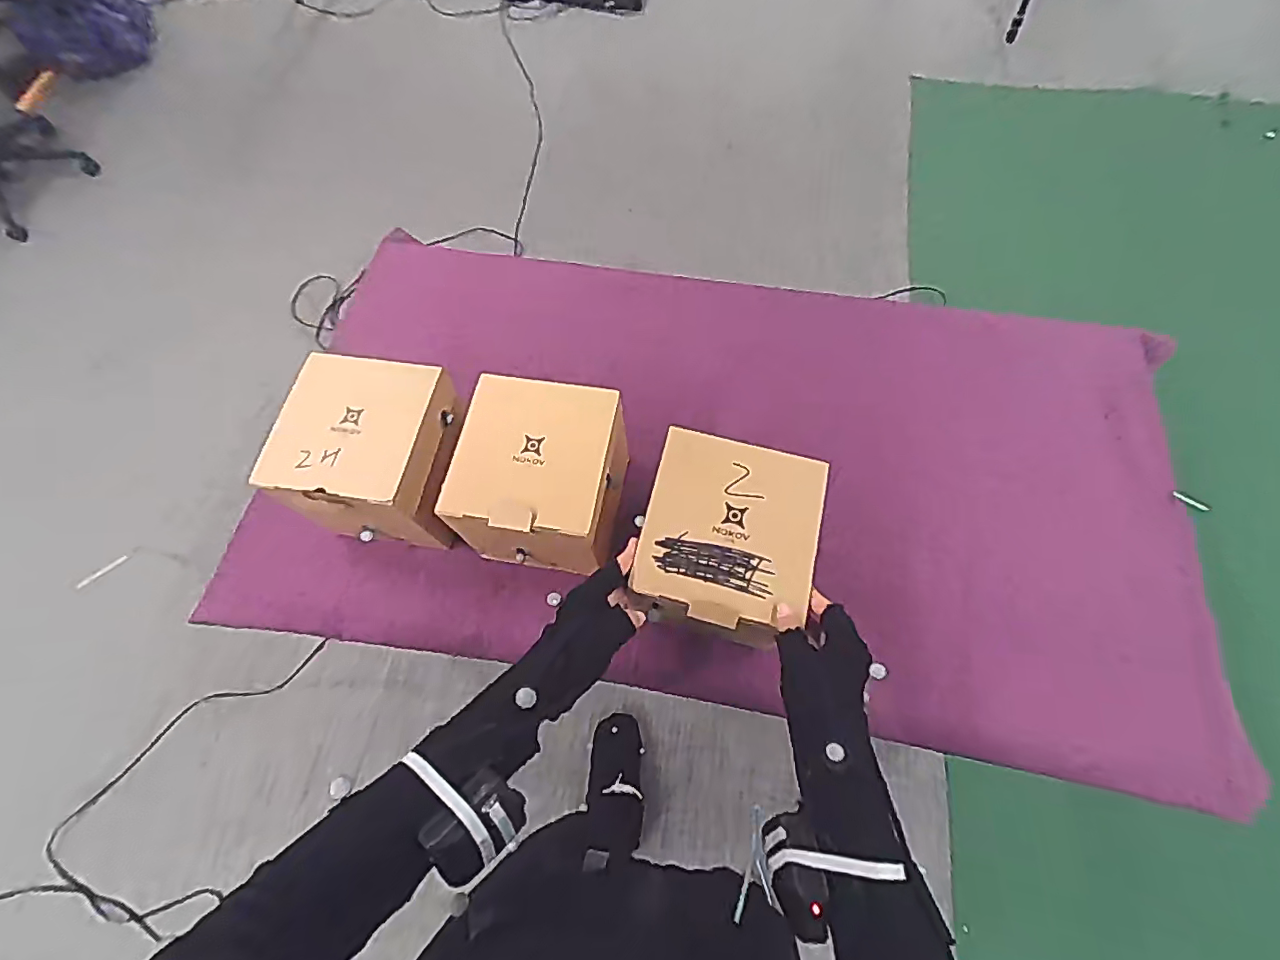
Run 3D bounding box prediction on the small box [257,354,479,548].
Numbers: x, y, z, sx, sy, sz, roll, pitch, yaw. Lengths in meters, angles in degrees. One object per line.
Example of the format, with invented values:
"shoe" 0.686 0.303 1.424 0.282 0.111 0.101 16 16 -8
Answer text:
"small box" -0.319 -0.030 0.682 0.168 0.176 0.179 8 67 6
